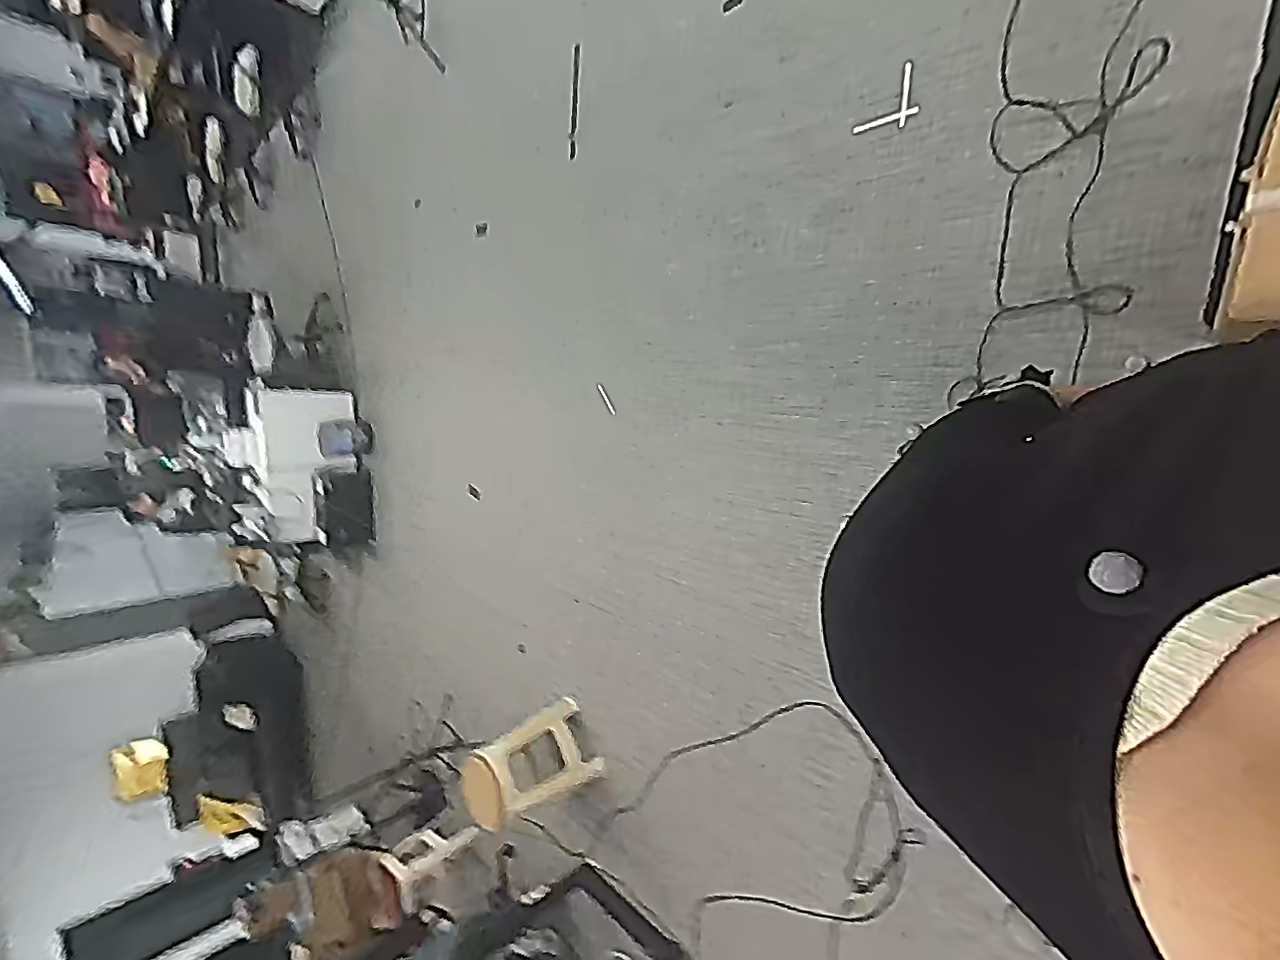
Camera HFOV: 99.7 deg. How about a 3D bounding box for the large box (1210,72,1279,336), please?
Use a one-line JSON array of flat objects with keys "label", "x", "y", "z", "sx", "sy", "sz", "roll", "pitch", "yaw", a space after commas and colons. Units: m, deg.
[{"label": "large box", "x": 1.053, "y": -0.363, "z": 0.689, "sx": 0.408, "sy": 0.320, "sz": 0.320, "roll": 13, "pitch": 104, "yaw": 42}]
